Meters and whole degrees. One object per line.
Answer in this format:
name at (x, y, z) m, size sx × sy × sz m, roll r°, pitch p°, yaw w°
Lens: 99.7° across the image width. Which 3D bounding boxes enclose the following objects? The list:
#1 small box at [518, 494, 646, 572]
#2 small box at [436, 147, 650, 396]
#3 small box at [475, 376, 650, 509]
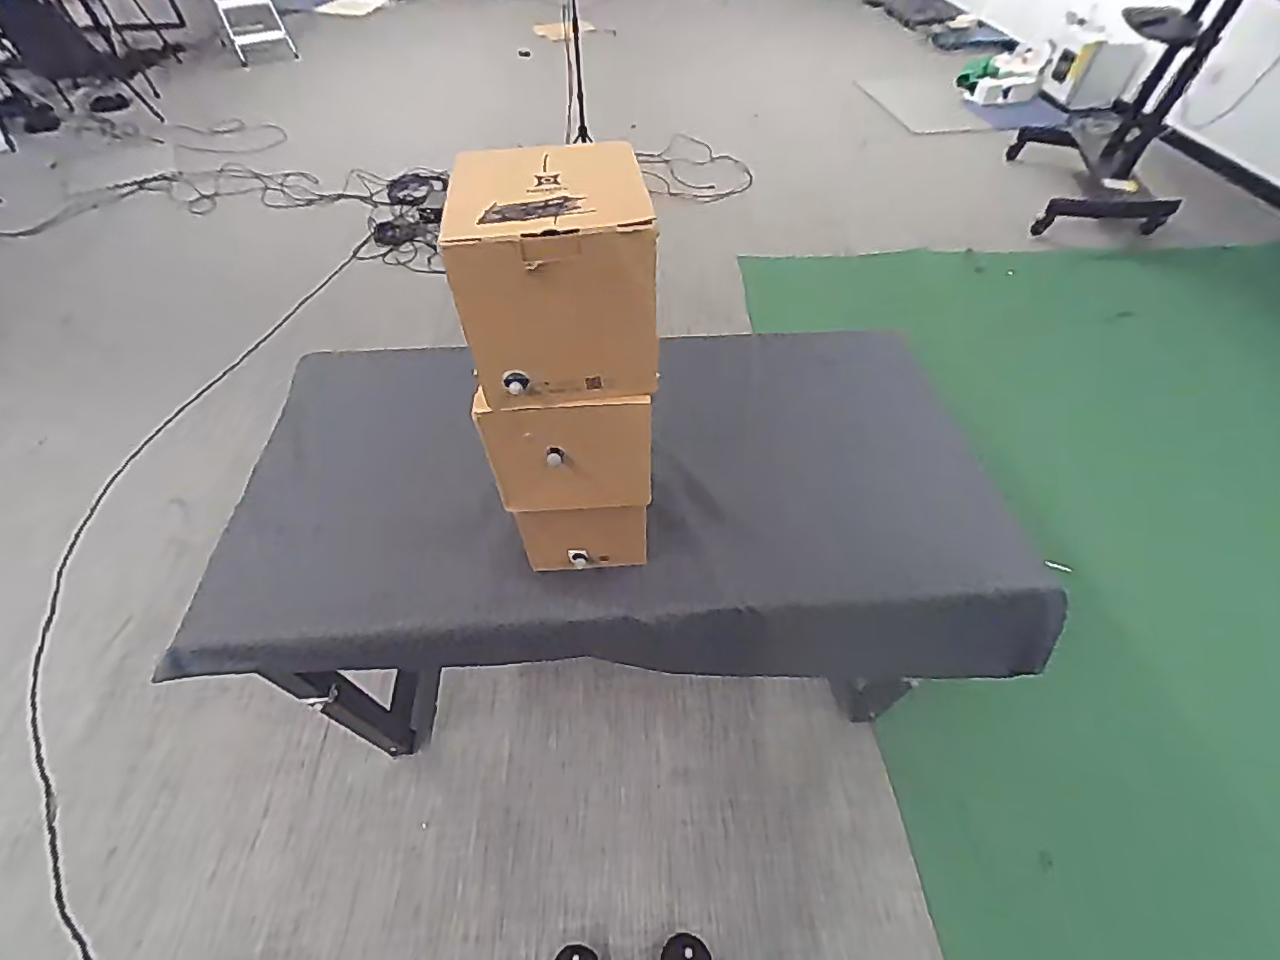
small box at (-0.080, 0.012, 0.780) m, size 0.168 × 0.176 × 0.179 m, roll -5°, pitch 51°, yaw -2°
small box at (-0.081, -0.195, 0.525) m, size 0.168 × 0.176 × 0.179 m, roll -6°, pitch 49°, yaw -4°
small box at (-0.082, -0.079, 0.647) m, size 0.179 × 0.176 × 0.168 m, roll -5°, pitch 48°, yaw -4°
